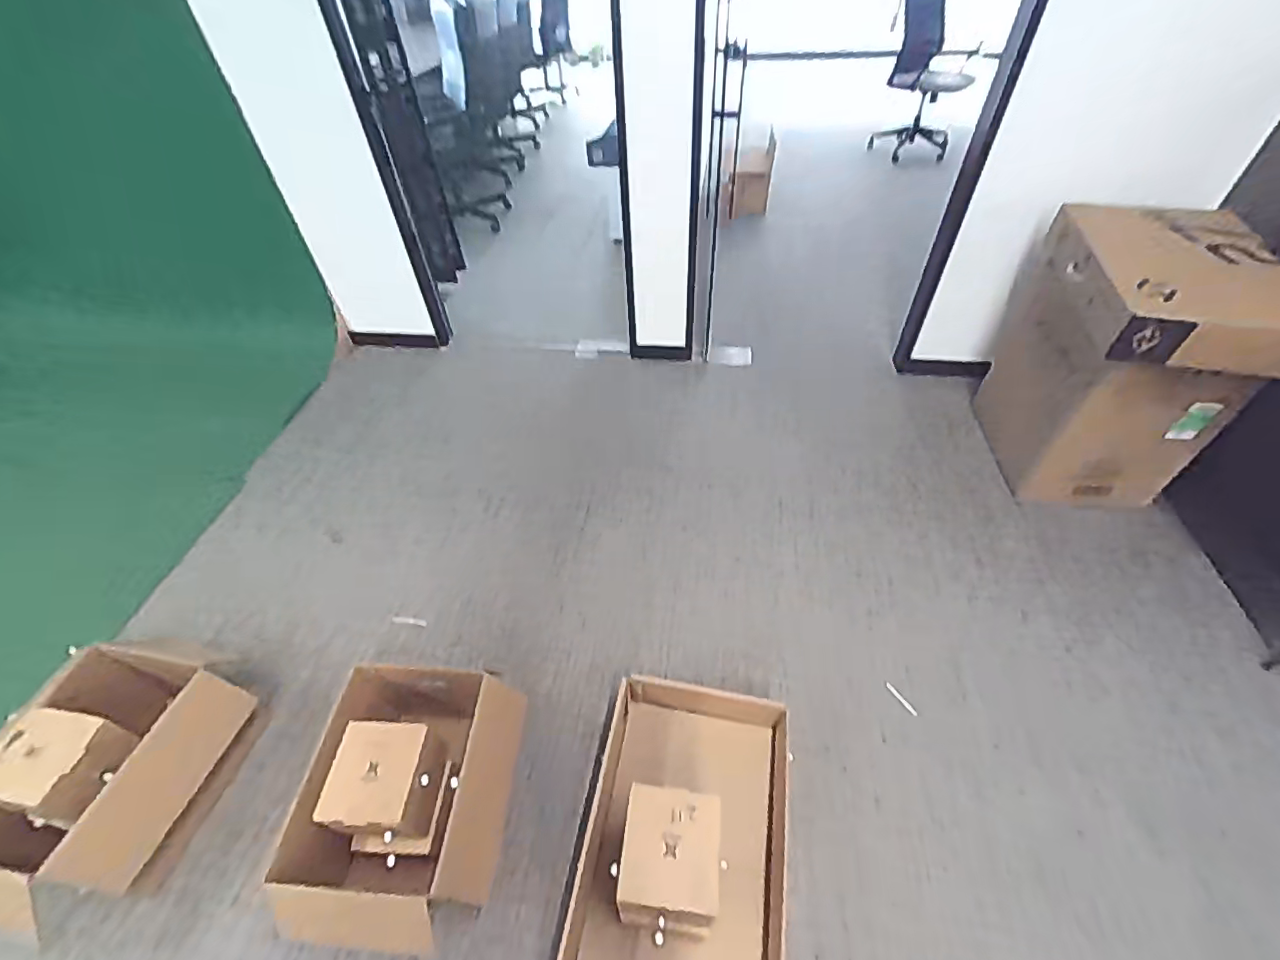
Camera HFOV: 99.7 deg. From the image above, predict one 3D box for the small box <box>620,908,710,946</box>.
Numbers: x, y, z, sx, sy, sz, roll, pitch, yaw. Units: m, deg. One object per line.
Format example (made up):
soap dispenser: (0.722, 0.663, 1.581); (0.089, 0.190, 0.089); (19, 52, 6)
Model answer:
small box: (0.058, 0.797, 1.080); (0.168, 0.176, 0.179); (7, 46, 8)

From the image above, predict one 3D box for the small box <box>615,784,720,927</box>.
small box: (0.052, 0.675, 0.969); (0.168, 0.176, 0.179); (5, 45, 5)

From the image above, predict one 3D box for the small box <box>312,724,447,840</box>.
small box: (-0.510, 0.612, 1.091); (0.168, 0.176, 0.179); (1, 48, 3)
